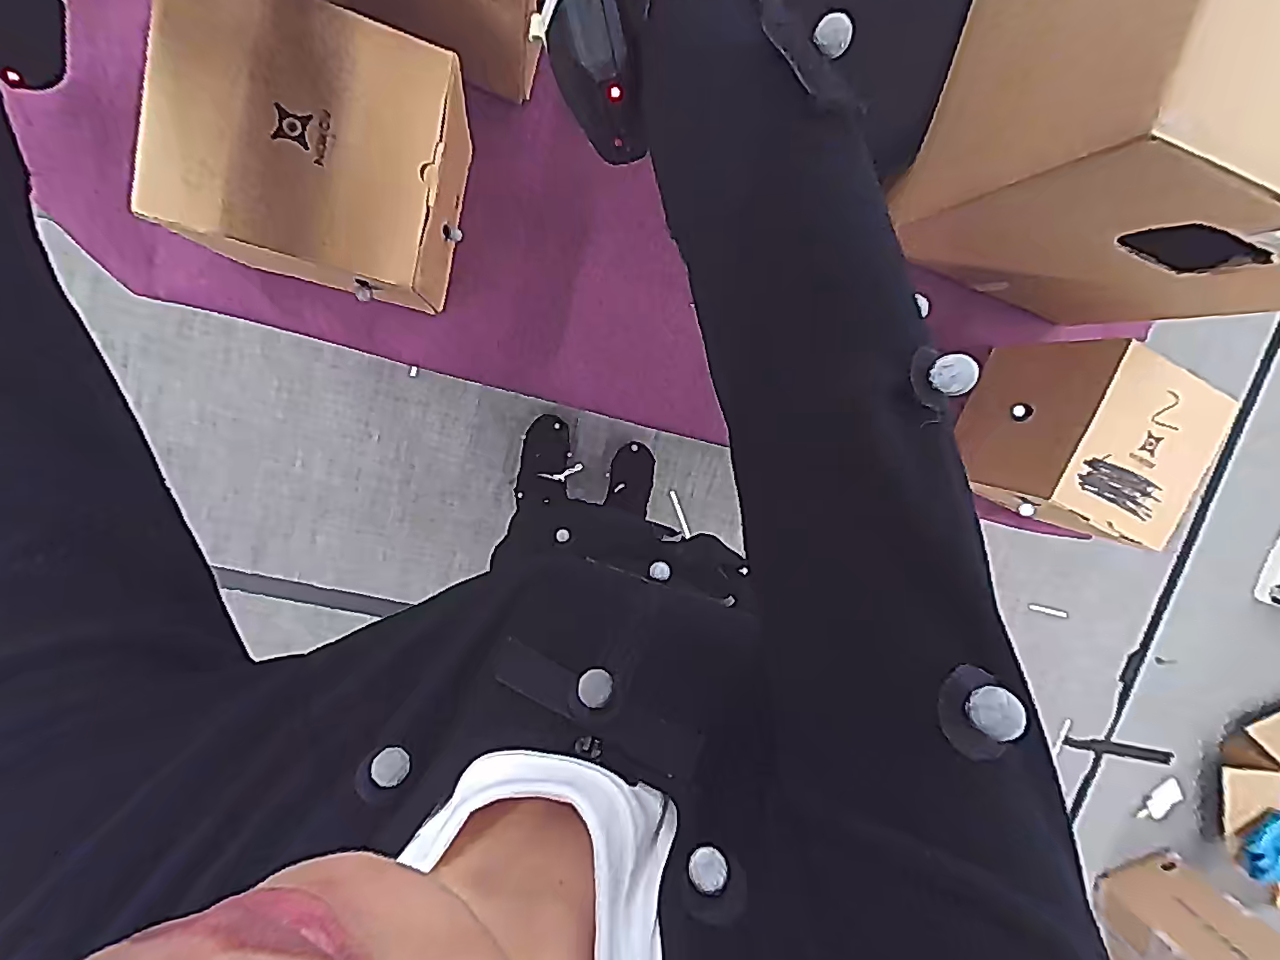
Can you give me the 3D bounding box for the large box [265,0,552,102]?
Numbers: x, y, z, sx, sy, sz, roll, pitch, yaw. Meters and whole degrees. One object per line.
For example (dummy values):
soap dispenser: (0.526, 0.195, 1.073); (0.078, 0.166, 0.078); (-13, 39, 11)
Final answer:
large box: (-0.170, -0.561, 0.330); (0.320, 0.320, 0.408); (13, 101, -15)
